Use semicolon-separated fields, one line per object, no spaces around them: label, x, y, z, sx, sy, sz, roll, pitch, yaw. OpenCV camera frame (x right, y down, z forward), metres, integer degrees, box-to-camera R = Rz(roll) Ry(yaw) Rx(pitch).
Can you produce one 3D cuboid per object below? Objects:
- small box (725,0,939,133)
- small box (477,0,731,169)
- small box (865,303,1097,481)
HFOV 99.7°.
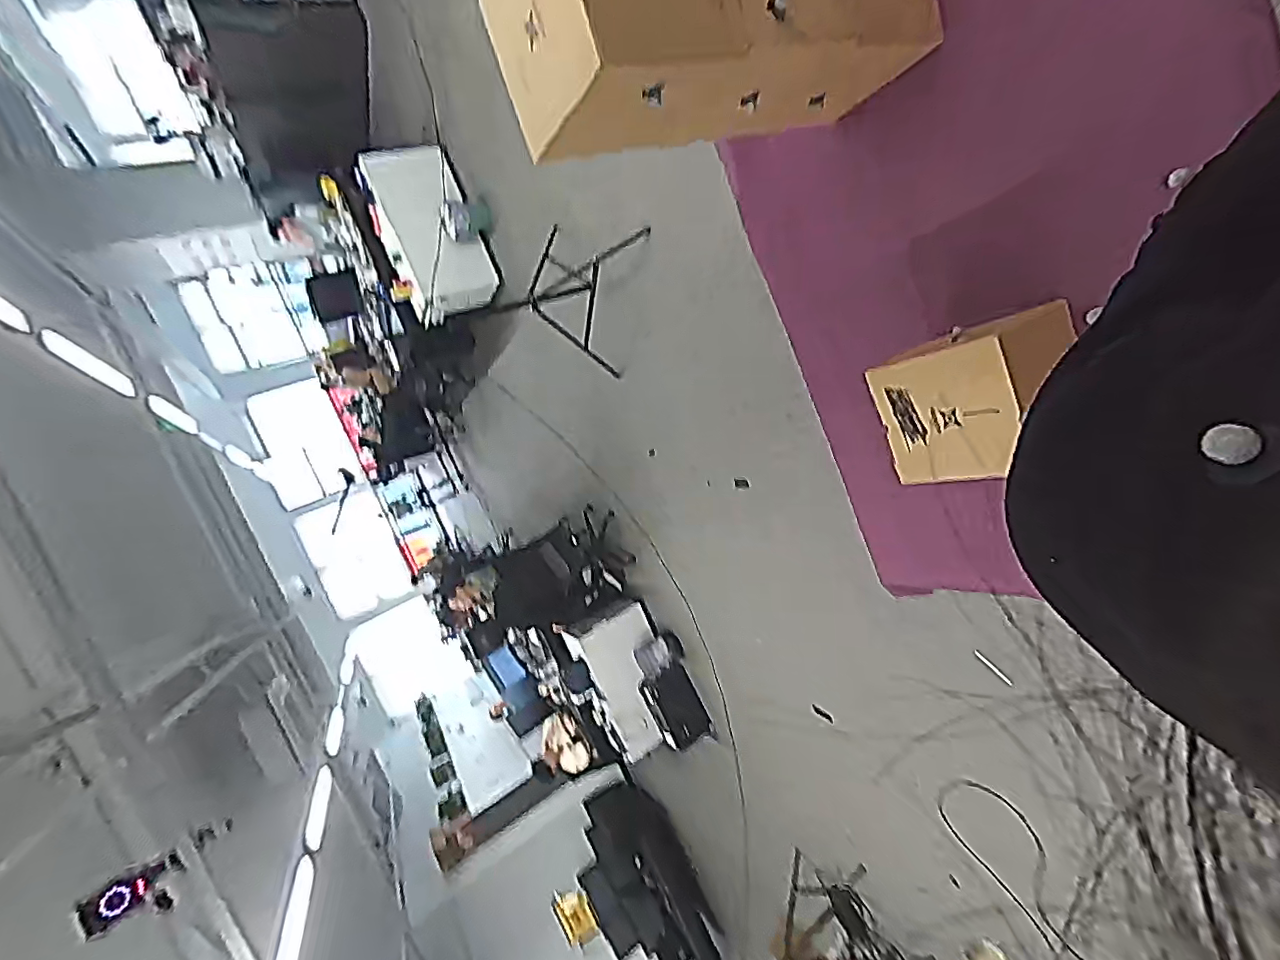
small box;0.228;-0.570;0.672;0.179;0.176;0.168;0;114;62
small box;-0.031;-0.437;0.525;0.179;0.176;0.168;5;116;62
small box;0.437;-0.108;0.702;0.179;0.176;0.168;-8;106;62
